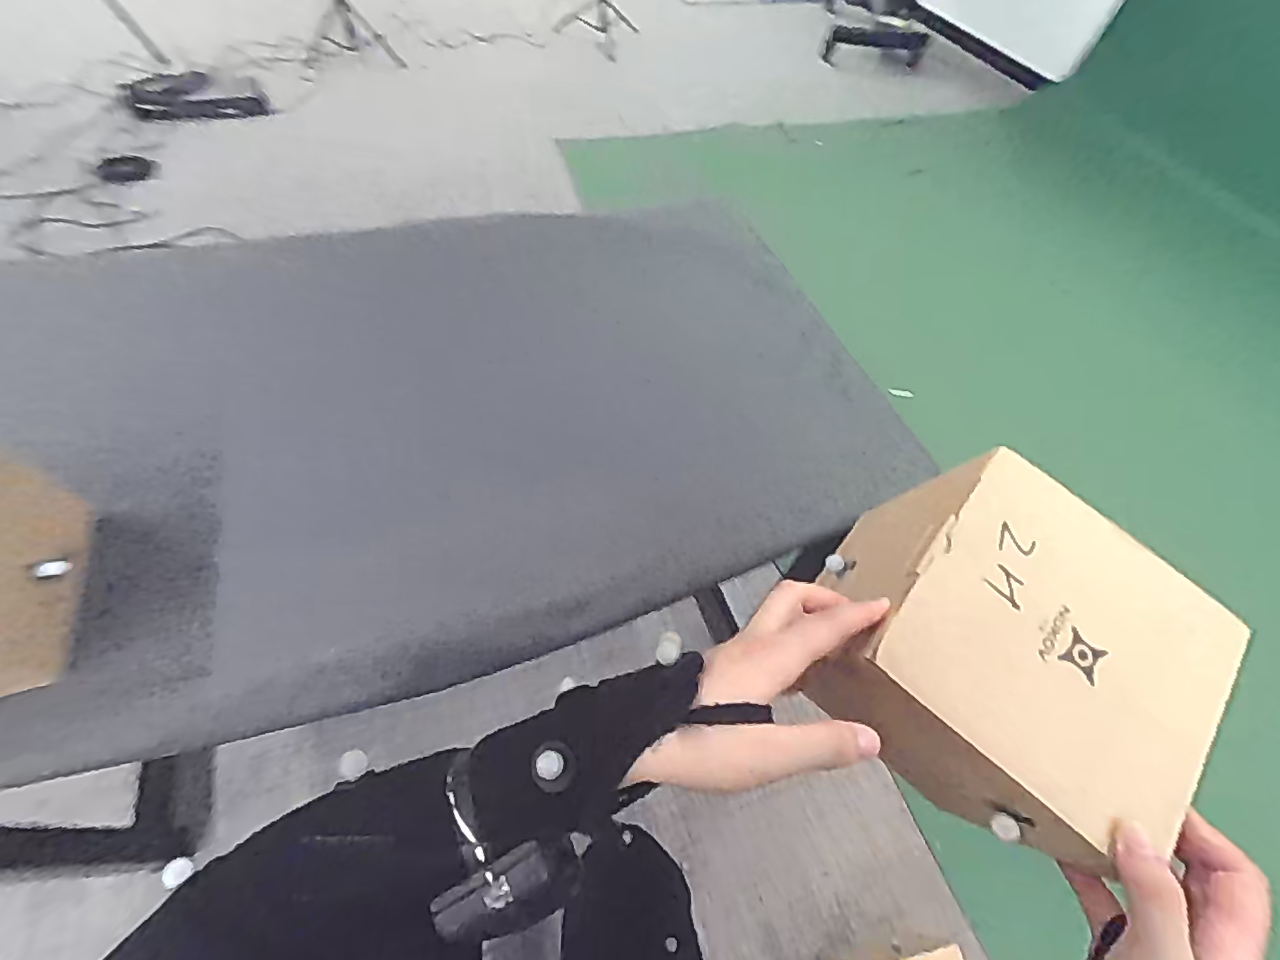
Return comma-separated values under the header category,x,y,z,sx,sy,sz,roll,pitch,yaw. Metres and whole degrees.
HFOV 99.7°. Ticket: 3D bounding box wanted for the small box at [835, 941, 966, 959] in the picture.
category,x,y,z,sx,sy,sz,roll,pitch,yaw
small box,0.419,0.847,0.837,0.179,0.176,0.168,-6,58,-10
